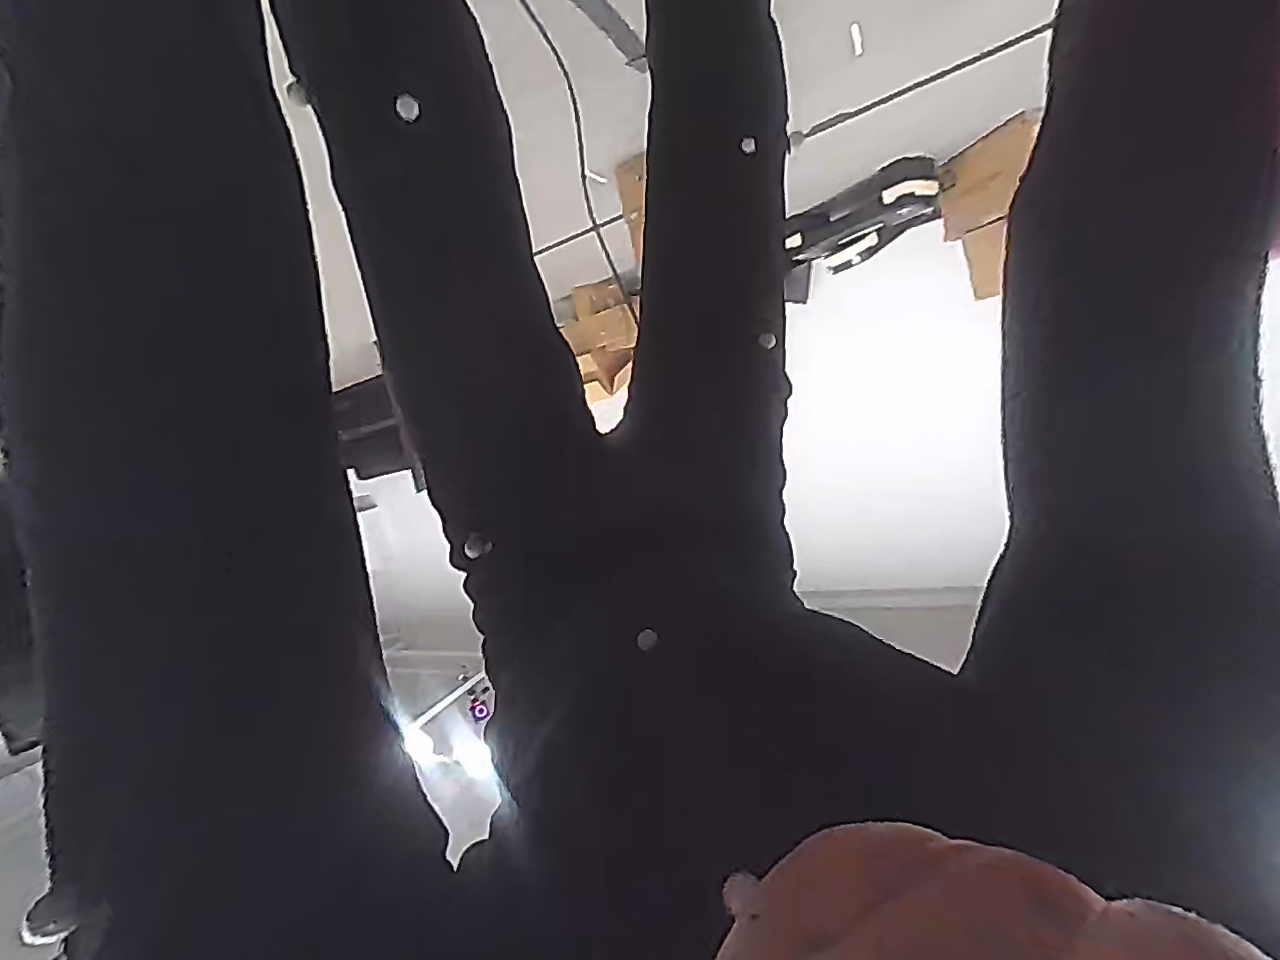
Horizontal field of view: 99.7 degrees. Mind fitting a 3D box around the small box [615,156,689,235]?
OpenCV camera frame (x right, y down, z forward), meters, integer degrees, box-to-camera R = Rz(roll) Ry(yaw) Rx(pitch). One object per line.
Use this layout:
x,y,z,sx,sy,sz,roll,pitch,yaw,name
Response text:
0.041,-0.928,1.769,0.168,0.176,0.179,-8,-171,32,small box
